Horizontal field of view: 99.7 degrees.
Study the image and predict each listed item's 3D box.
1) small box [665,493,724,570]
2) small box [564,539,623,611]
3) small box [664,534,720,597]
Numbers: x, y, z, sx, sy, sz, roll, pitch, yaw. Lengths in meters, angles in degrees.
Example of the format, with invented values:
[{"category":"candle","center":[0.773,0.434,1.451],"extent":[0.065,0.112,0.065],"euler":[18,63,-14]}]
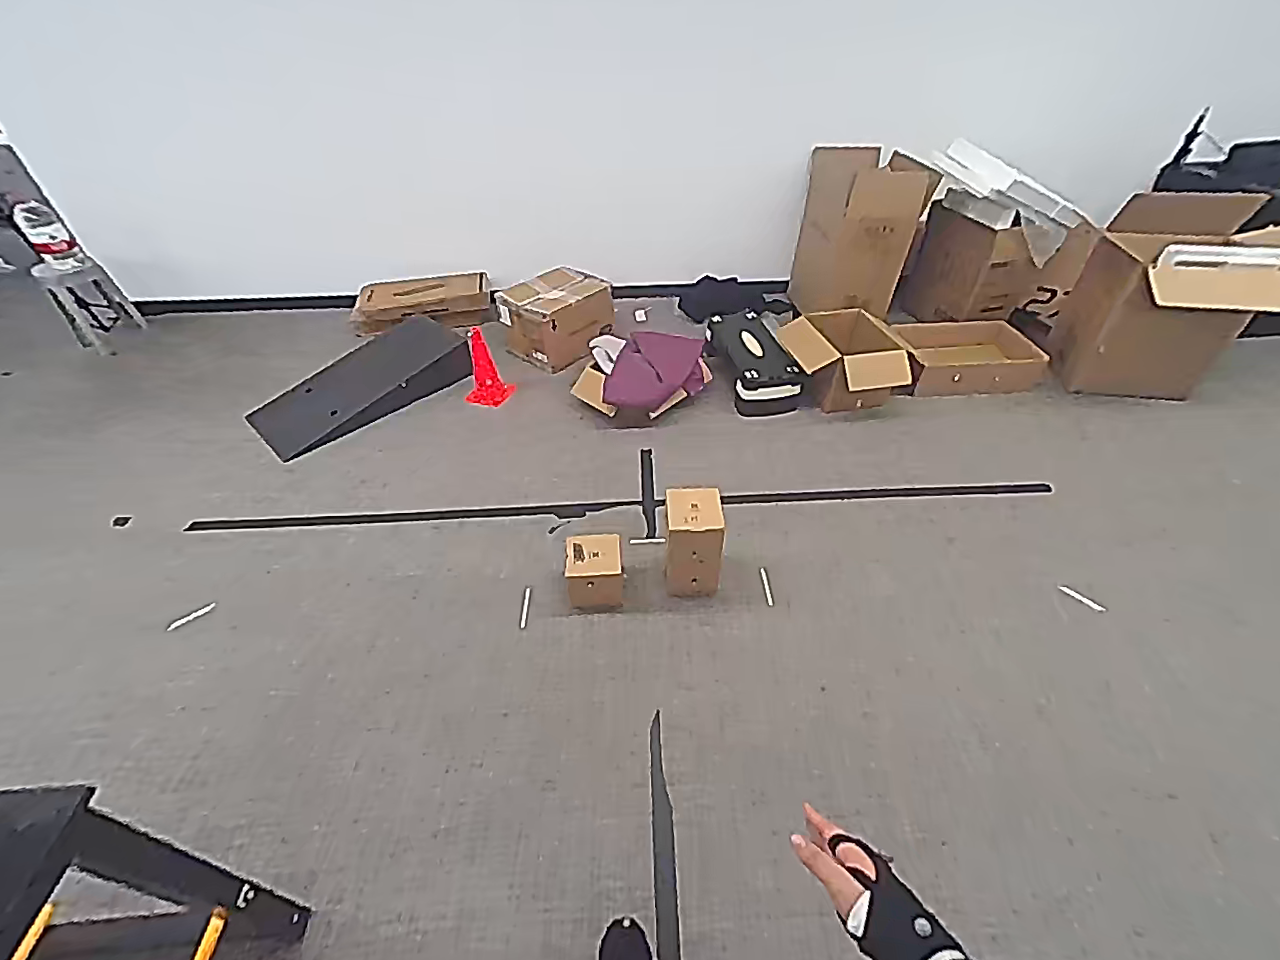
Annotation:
[{"category":"small box","center":[0.163,0.159,1.684],"extent":[0.168,0.176,0.179],"euler":[-2,42,0]},{"category":"small box","center":[-0.148,0.313,1.767],"extent":[0.179,0.176,0.168],"euler":[-3,42,-2]},{"category":"small box","center":[0.170,0.278,1.800],"extent":[0.168,0.176,0.179],"euler":[-3,43,-1]}]
